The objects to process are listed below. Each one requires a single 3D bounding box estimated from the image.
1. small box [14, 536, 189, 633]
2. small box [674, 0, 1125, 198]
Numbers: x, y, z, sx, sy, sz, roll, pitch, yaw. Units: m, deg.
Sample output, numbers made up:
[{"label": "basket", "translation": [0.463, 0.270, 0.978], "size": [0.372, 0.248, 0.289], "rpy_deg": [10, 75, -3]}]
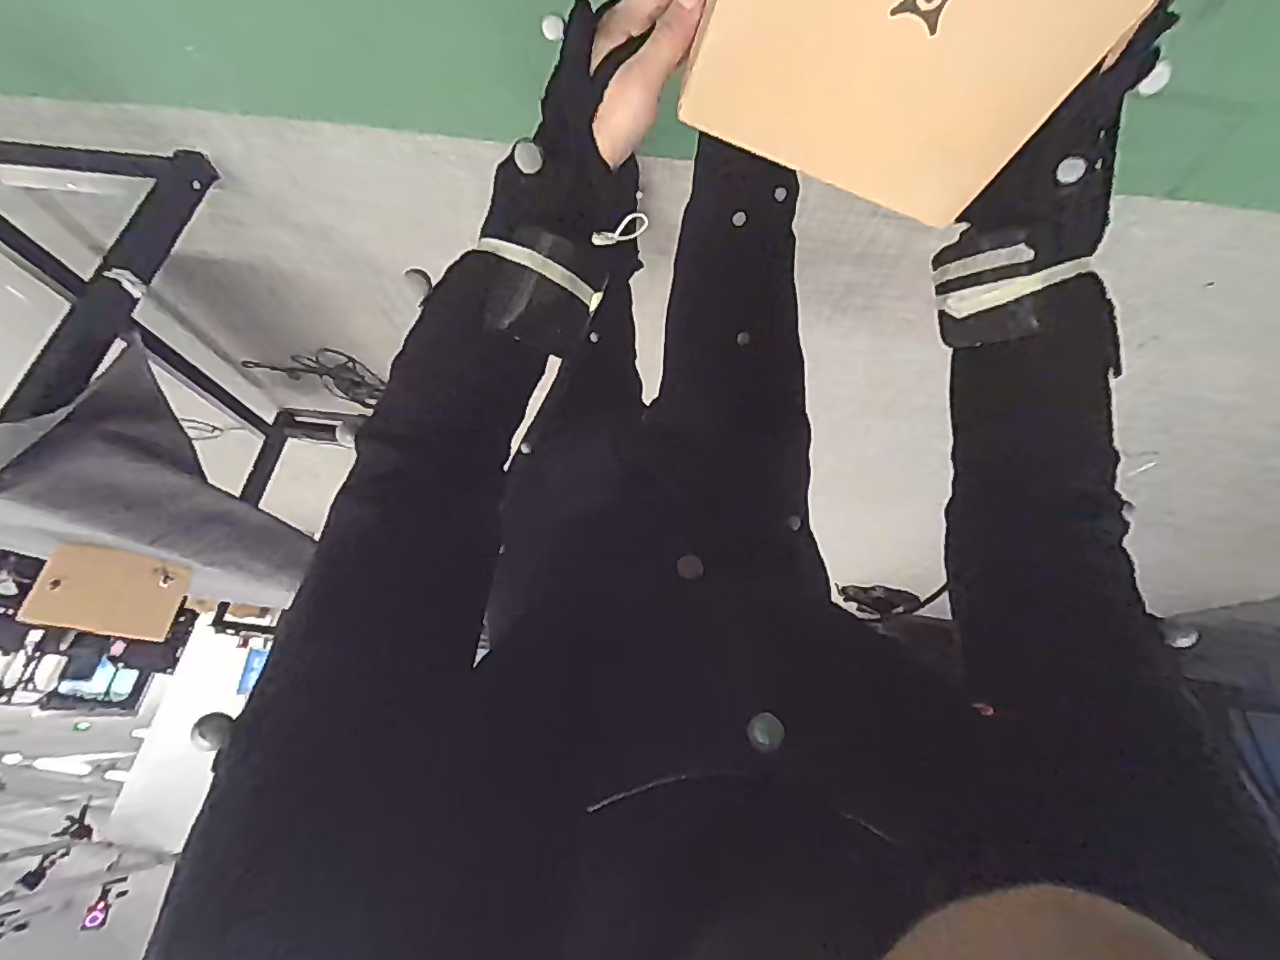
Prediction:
[{"label": "small box", "translation": [-1.134, 0.224, 1.157], "size": [0.179, 0.176, 0.168], "rpy_deg": [7, 160, 2]}, {"label": "small box", "translation": [0.127, -0.282, 0.250], "size": [0.168, 0.176, 0.179], "rpy_deg": [14, 149, -12]}]
